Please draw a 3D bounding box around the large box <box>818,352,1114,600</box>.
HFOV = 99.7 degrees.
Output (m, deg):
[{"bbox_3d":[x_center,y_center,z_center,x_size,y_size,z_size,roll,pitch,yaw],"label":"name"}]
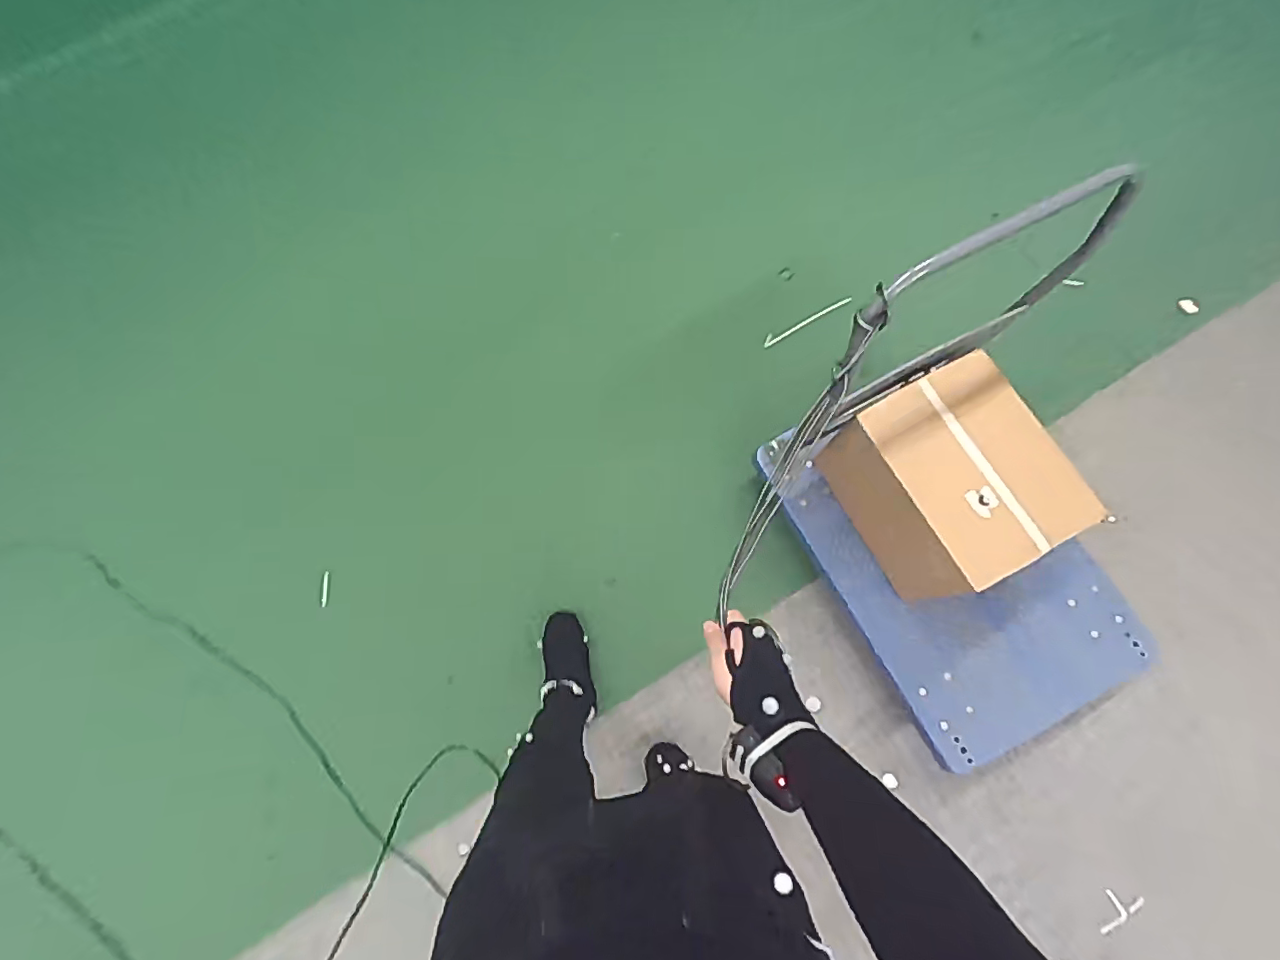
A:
[{"bbox_3d":[0.664,0.009,1.183,0.320,0.320,0.408,-27,77,-5],"label":"large box"}]
